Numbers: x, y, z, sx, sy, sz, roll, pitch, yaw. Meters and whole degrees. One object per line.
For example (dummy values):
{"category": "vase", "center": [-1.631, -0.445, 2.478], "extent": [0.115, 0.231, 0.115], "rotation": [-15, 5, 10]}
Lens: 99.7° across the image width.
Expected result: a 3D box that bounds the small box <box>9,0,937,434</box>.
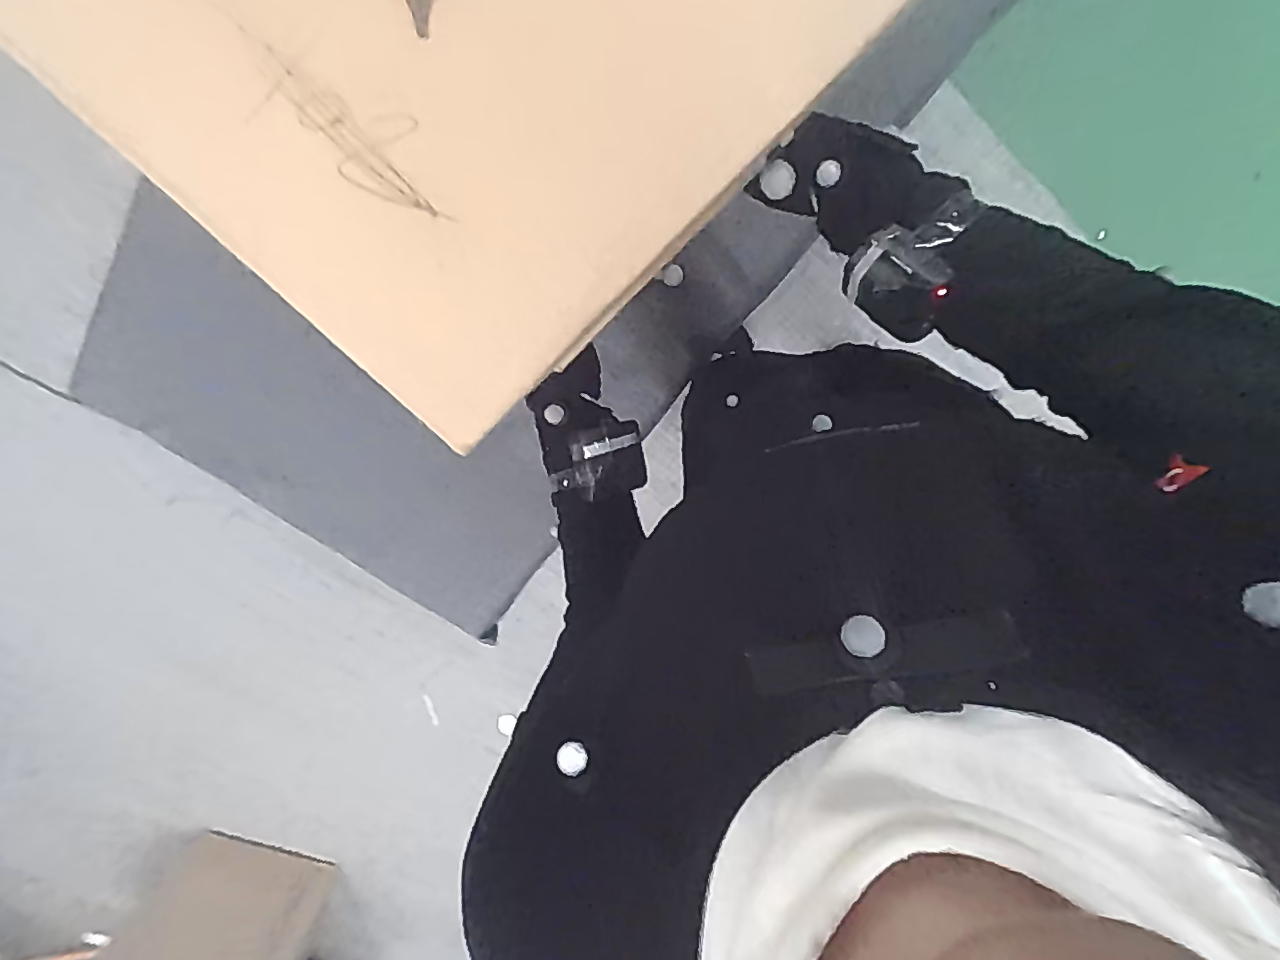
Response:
{"category": "small box", "center": [-0.038, -0.151, 0.197], "extent": [0.179, 0.176, 0.168], "rotation": [-42, 105, 16]}
